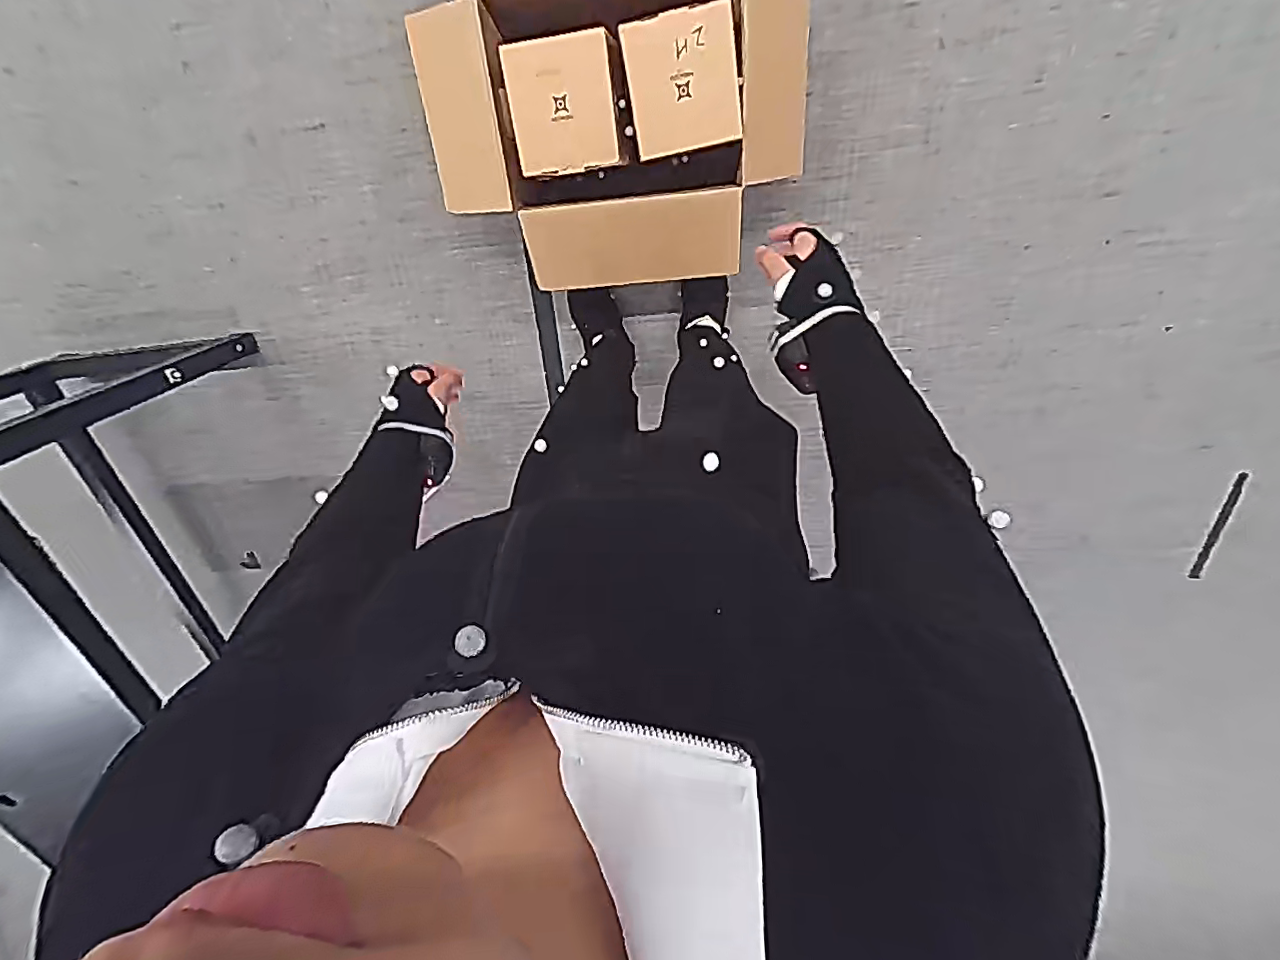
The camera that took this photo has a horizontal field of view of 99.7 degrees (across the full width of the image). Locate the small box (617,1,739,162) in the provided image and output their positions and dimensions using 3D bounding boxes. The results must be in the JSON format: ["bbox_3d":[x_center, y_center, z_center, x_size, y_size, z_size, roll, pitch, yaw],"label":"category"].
[{"bbox_3d":[0.062,-0.636,0.884,0.168,0.176,0.179,-10,119,5],"label":"small box"}]
